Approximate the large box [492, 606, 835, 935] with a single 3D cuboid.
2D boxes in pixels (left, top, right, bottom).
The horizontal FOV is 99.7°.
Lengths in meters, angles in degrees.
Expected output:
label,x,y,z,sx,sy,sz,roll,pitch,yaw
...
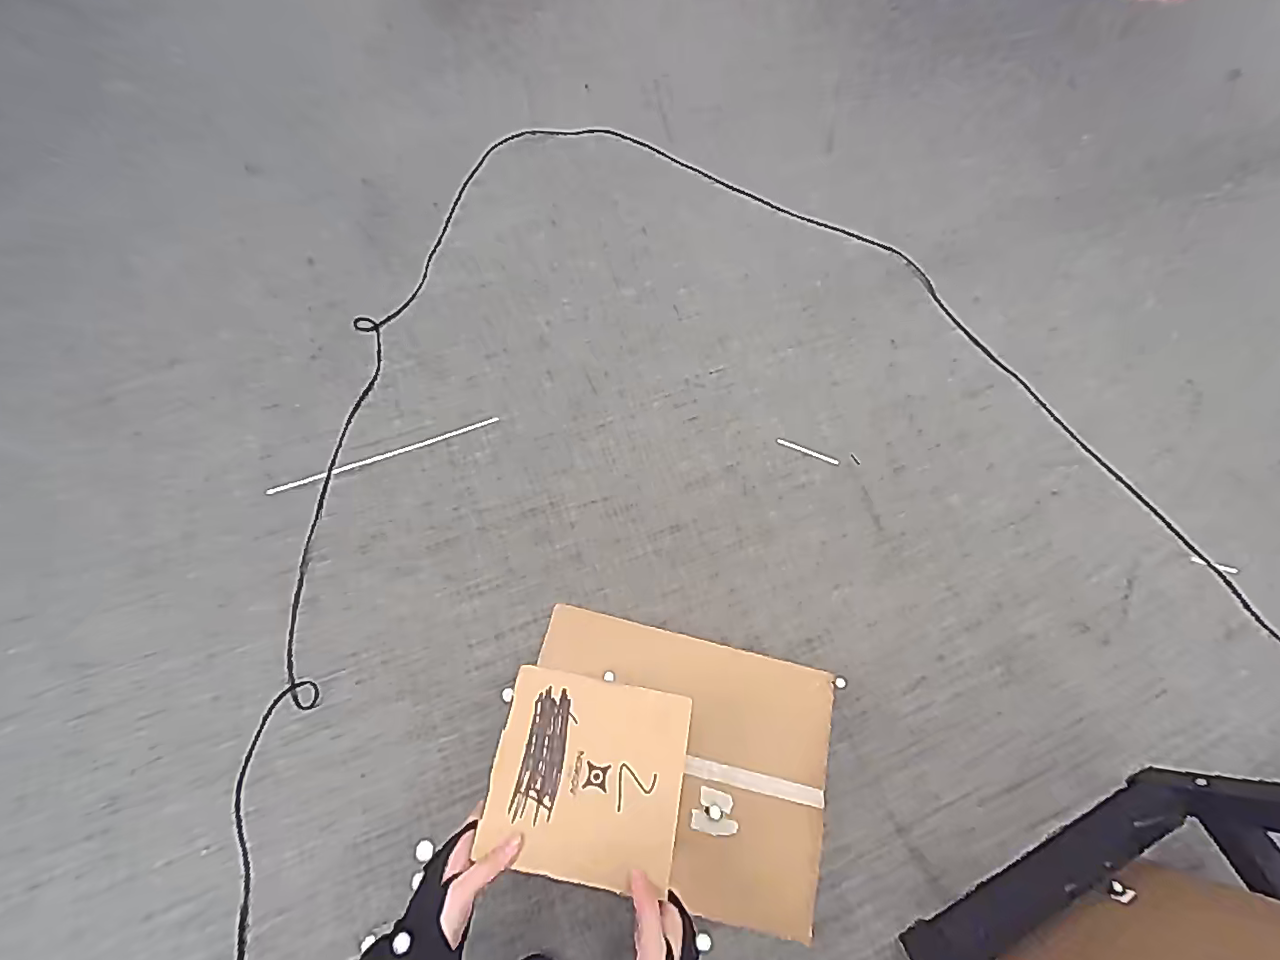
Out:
label,x,y,z,sx,sy,sz,roll,pitch,yaw
large box,0.034,0.412,0.836,0.408,0.320,0.320,14,69,2
